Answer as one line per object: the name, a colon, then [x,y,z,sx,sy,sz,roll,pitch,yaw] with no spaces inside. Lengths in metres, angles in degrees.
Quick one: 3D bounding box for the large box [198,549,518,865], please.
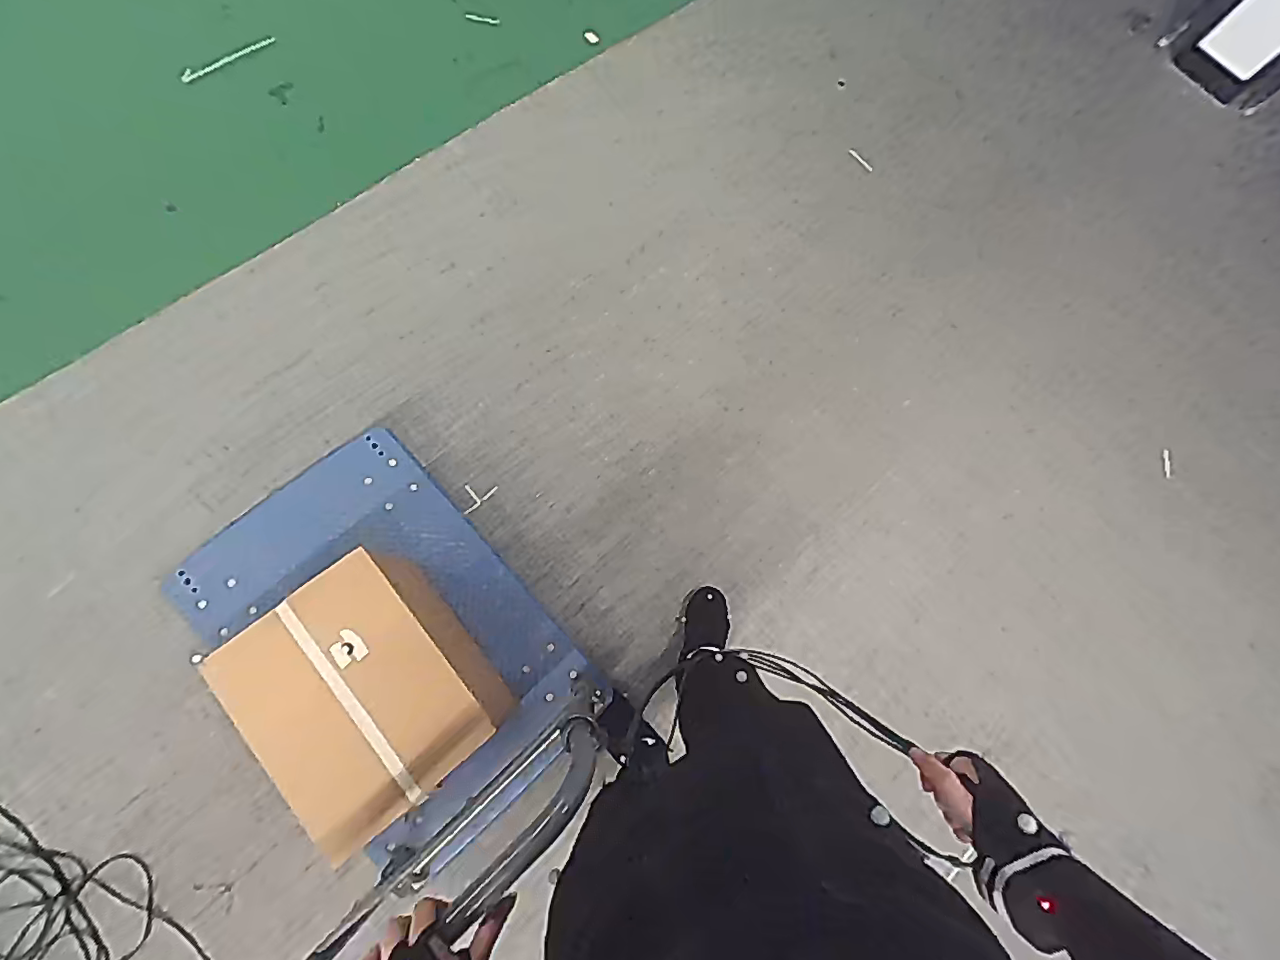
large box: [-0.491,0.393,1.031,0.320,0.320,0.408,-38,82,-13]
